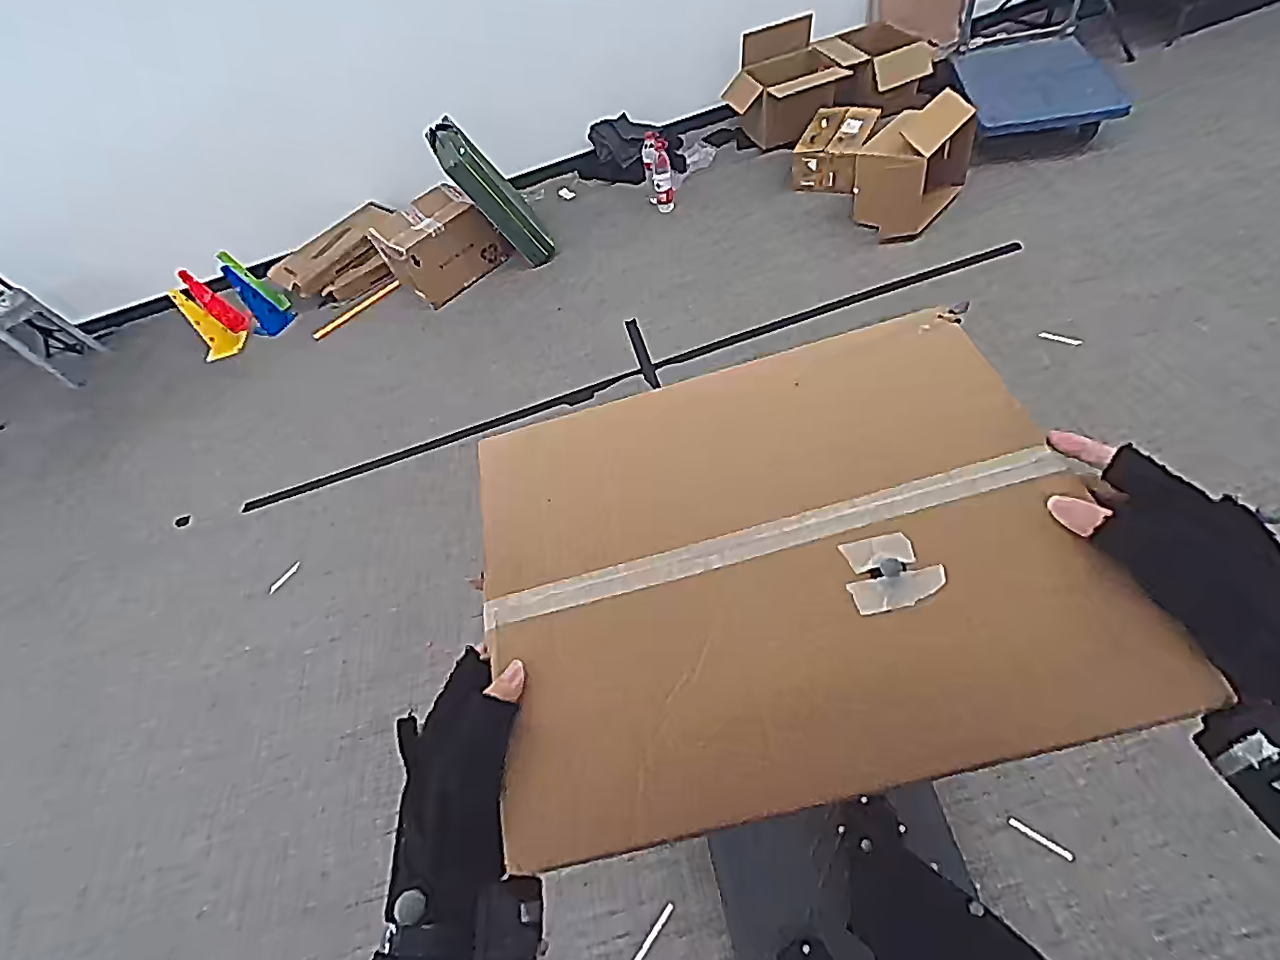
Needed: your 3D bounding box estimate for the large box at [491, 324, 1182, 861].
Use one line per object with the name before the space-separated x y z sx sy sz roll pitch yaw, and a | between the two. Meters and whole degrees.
large box | 0.116 0.121 0.519 0.408 0.320 0.320 -16 59 3
